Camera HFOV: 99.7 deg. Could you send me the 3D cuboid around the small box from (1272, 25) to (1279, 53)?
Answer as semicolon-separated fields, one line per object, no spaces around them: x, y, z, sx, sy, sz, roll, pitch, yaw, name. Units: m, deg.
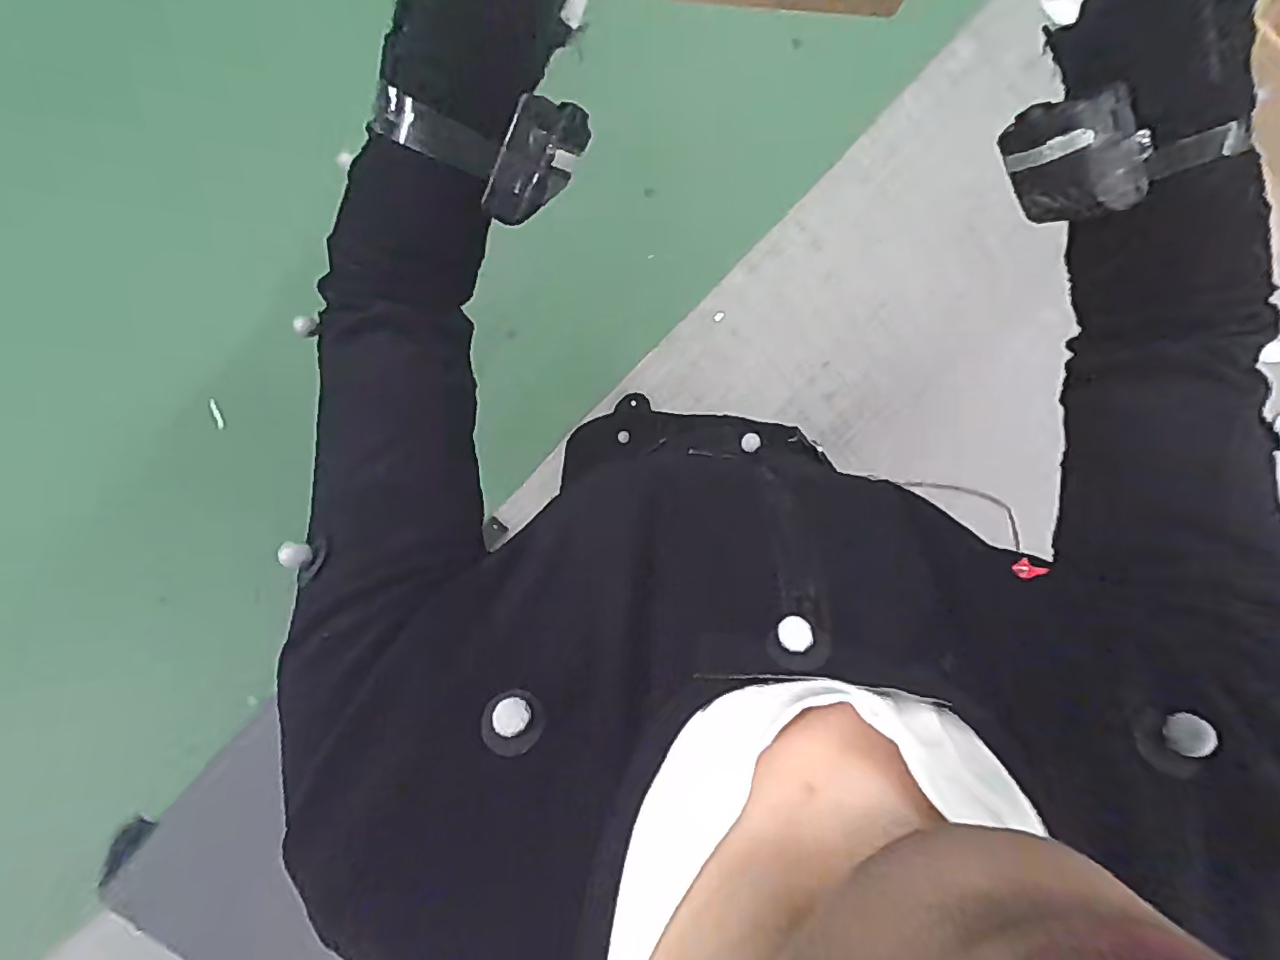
1.626;-1.050;1.225;0.179;0.176;0.168;44;95;-9;small box
